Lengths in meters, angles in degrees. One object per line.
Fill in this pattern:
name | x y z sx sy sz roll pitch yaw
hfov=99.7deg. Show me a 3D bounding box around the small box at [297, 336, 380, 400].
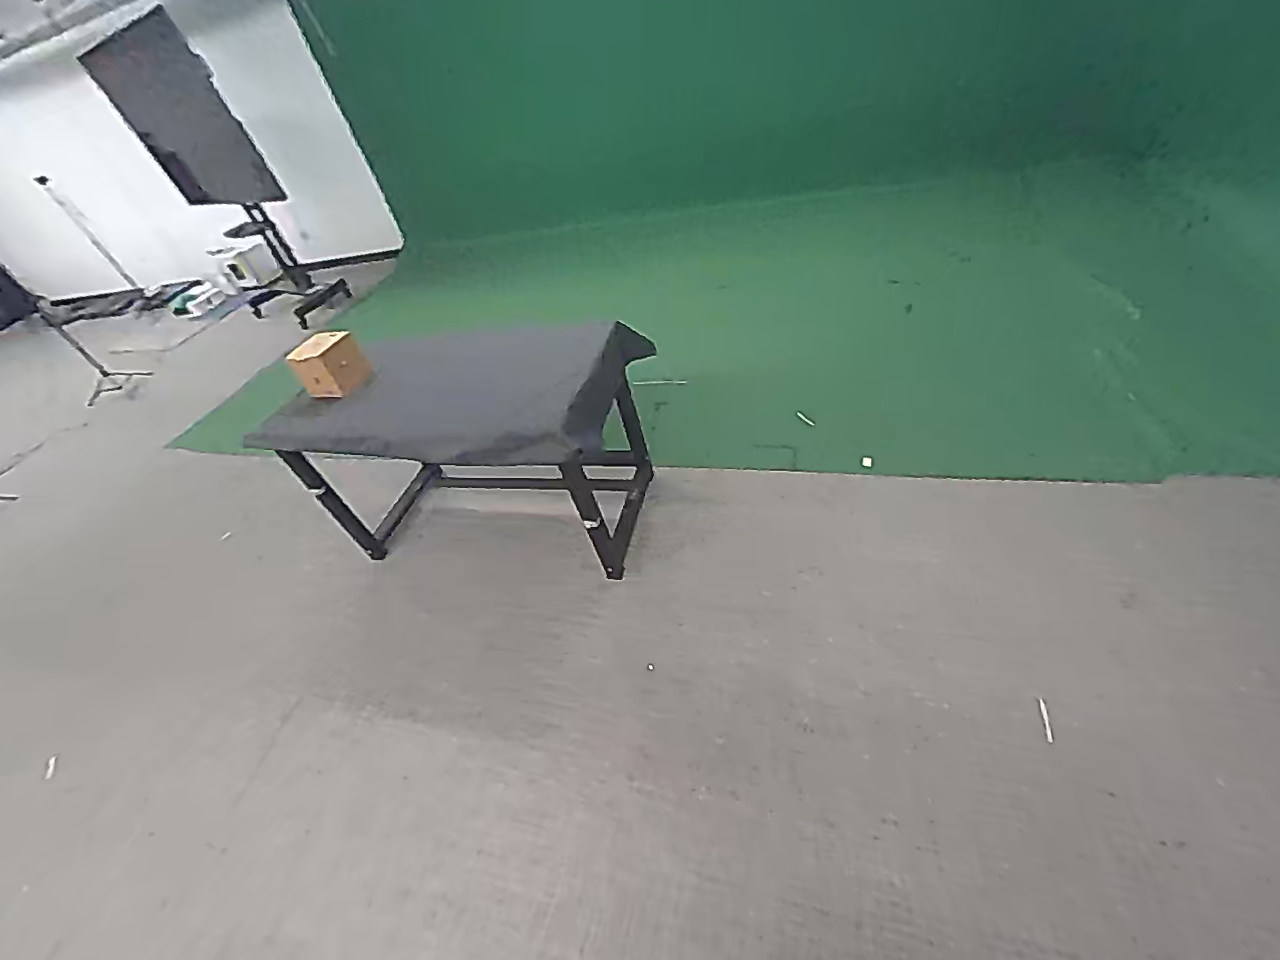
small box | -1.104 -0.410 1.999 0.168 0.176 0.179 4 46 21
